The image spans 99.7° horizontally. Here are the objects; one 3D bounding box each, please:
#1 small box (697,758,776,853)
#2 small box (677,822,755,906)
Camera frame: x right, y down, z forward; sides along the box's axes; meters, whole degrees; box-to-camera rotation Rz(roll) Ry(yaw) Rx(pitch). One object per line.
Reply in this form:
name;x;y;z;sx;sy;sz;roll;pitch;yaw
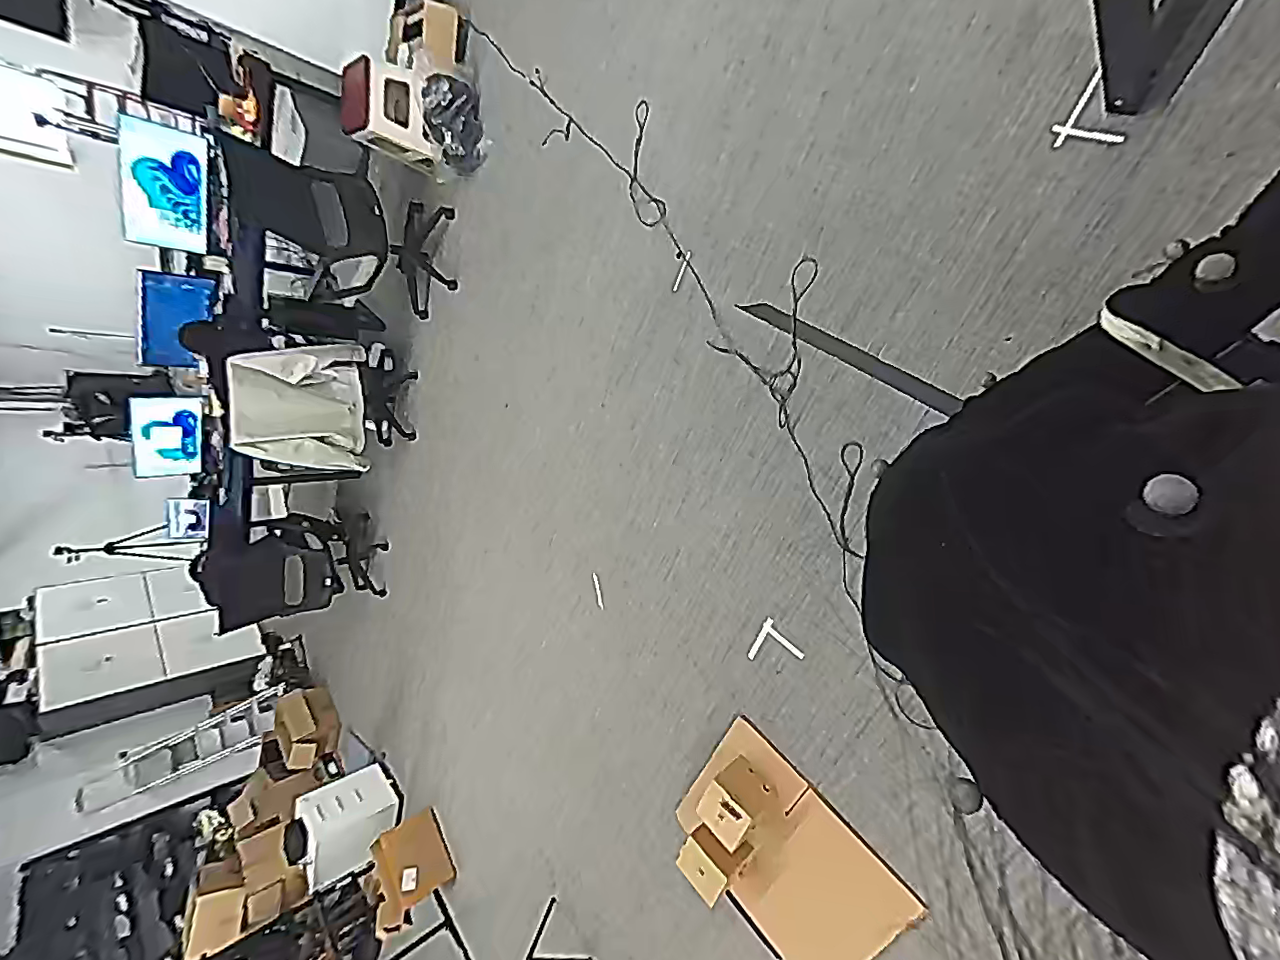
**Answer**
small box;0.323;1.065;1.786;0.168;0.176;0.179;36;119;34
small box;0.264;1.303;1.874;0.179;0.176;0.168;33;118;35
